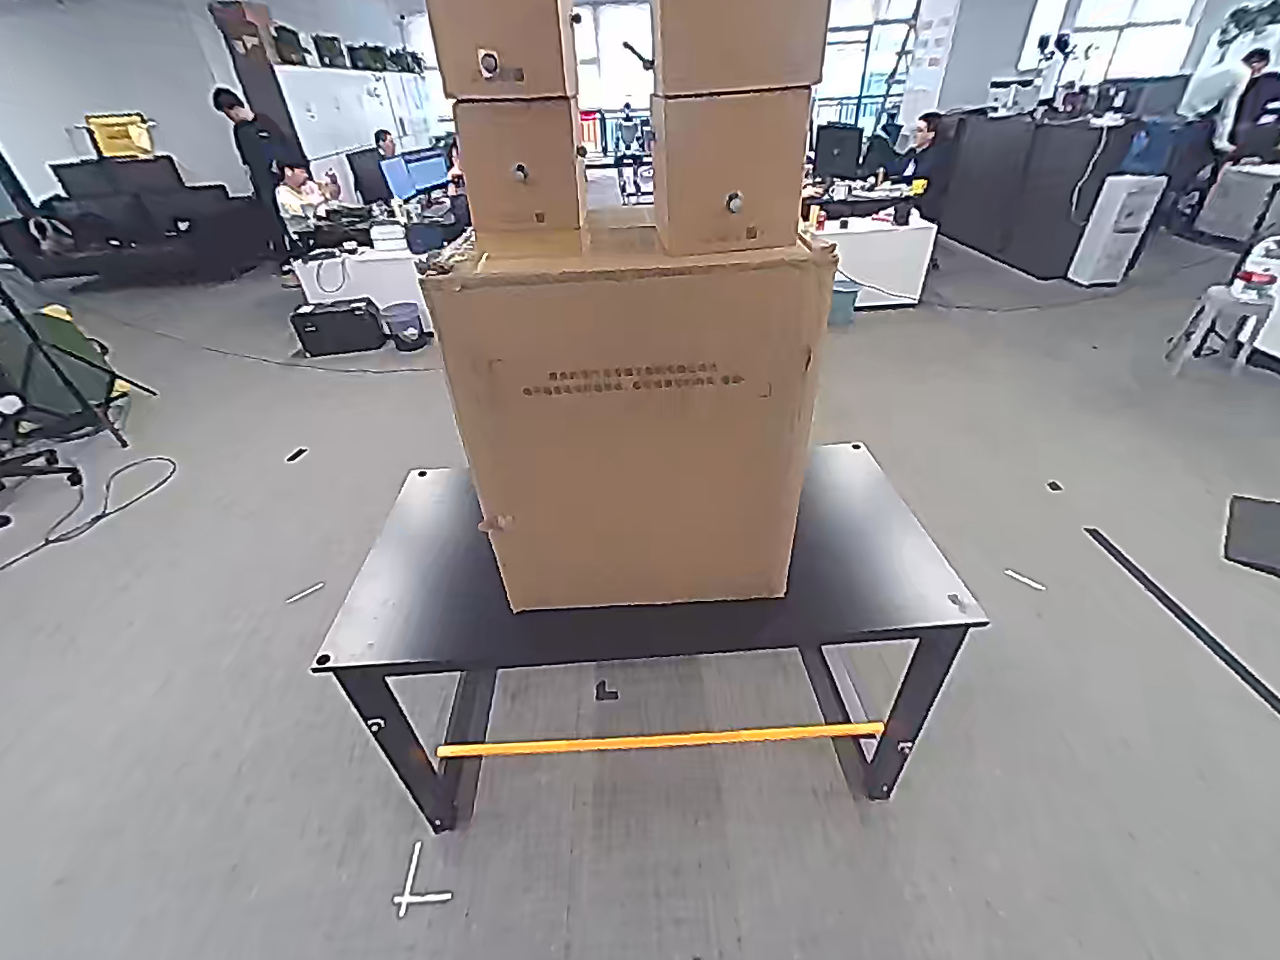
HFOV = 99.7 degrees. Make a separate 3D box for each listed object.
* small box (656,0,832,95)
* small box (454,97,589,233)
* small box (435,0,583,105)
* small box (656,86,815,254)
[{"bbox_3d":[0.107,-0.529,0.596,0.179,0.176,0.168,-4,37,0],"label":"small box"},{"bbox_3d":[-0.169,-0.489,0.841,0.168,0.176,0.179,-2,36,-1],"label":"small box"},{"bbox_3d":[-0.171,-0.612,0.732,0.168,0.176,0.179,-2,36,1],"label":"small box"},{"bbox_3d":[0.111,-0.405,0.704,0.168,0.176,0.179,-6,37,-1],"label":"small box"}]
